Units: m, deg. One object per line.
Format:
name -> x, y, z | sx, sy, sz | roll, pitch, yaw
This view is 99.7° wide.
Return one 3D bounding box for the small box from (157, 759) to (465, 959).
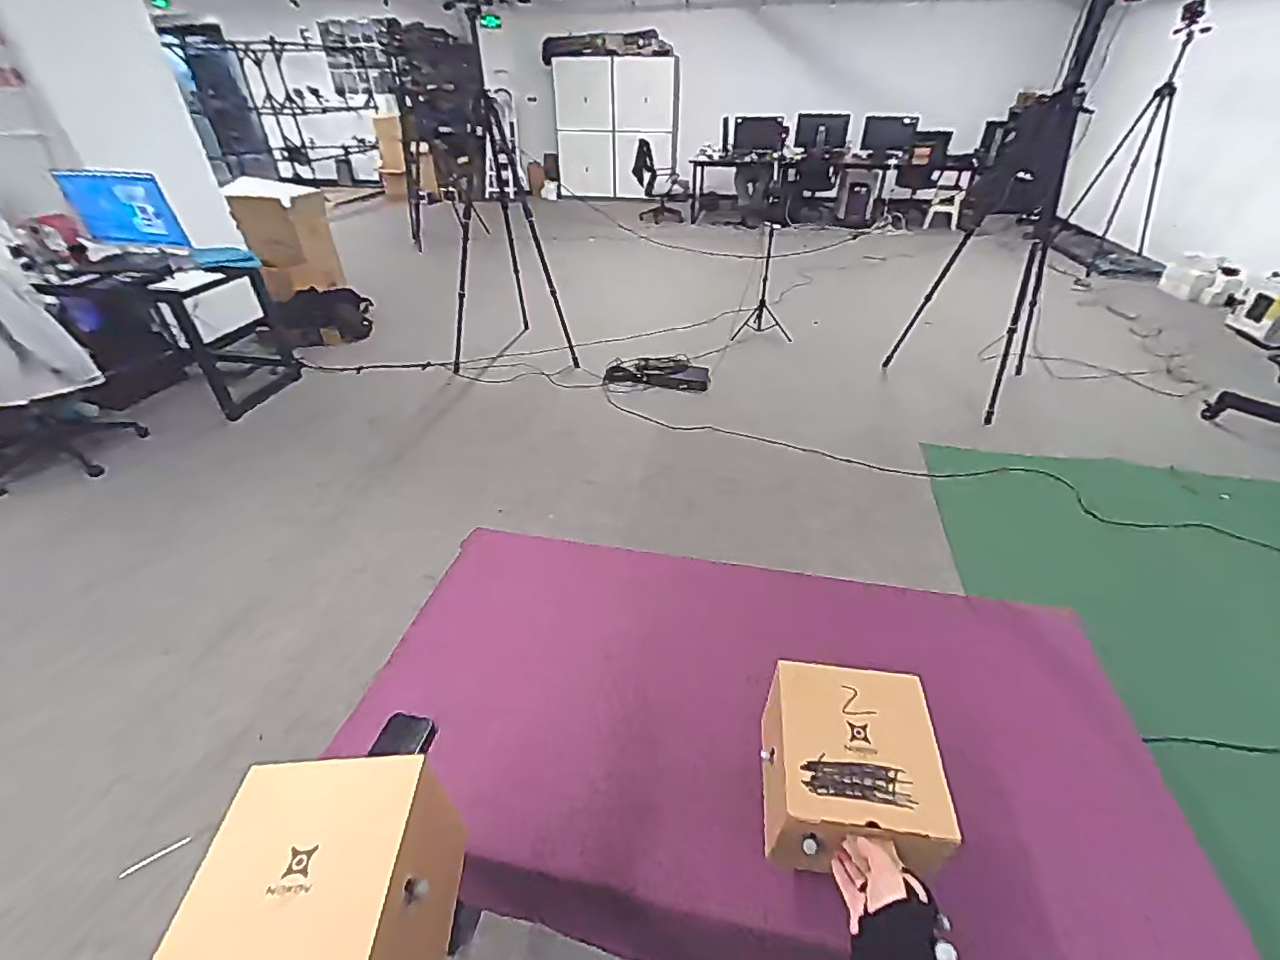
small box -> -0.269, 0.379, 0.486 | 0.168, 0.176, 0.179 | -3, 39, 1
